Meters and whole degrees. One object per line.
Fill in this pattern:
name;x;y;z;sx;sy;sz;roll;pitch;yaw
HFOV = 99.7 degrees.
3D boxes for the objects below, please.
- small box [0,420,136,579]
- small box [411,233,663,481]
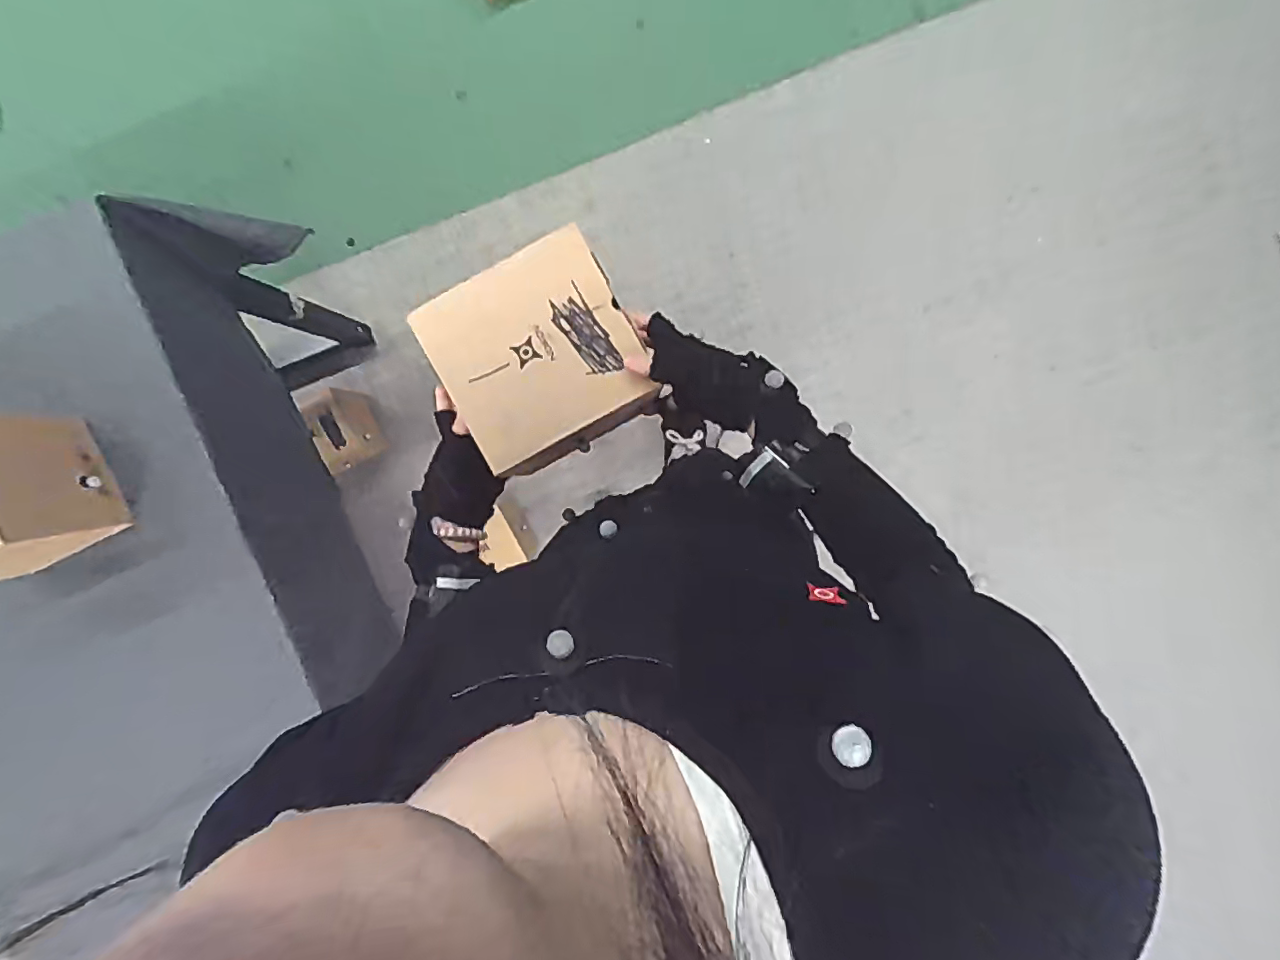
small box;-0.821;0.032;0.688;0.179;0.176;0.168;-24;95;3
small box;-0.093;-0.112;0.561;0.179;0.176;0.168;-29;91;0
